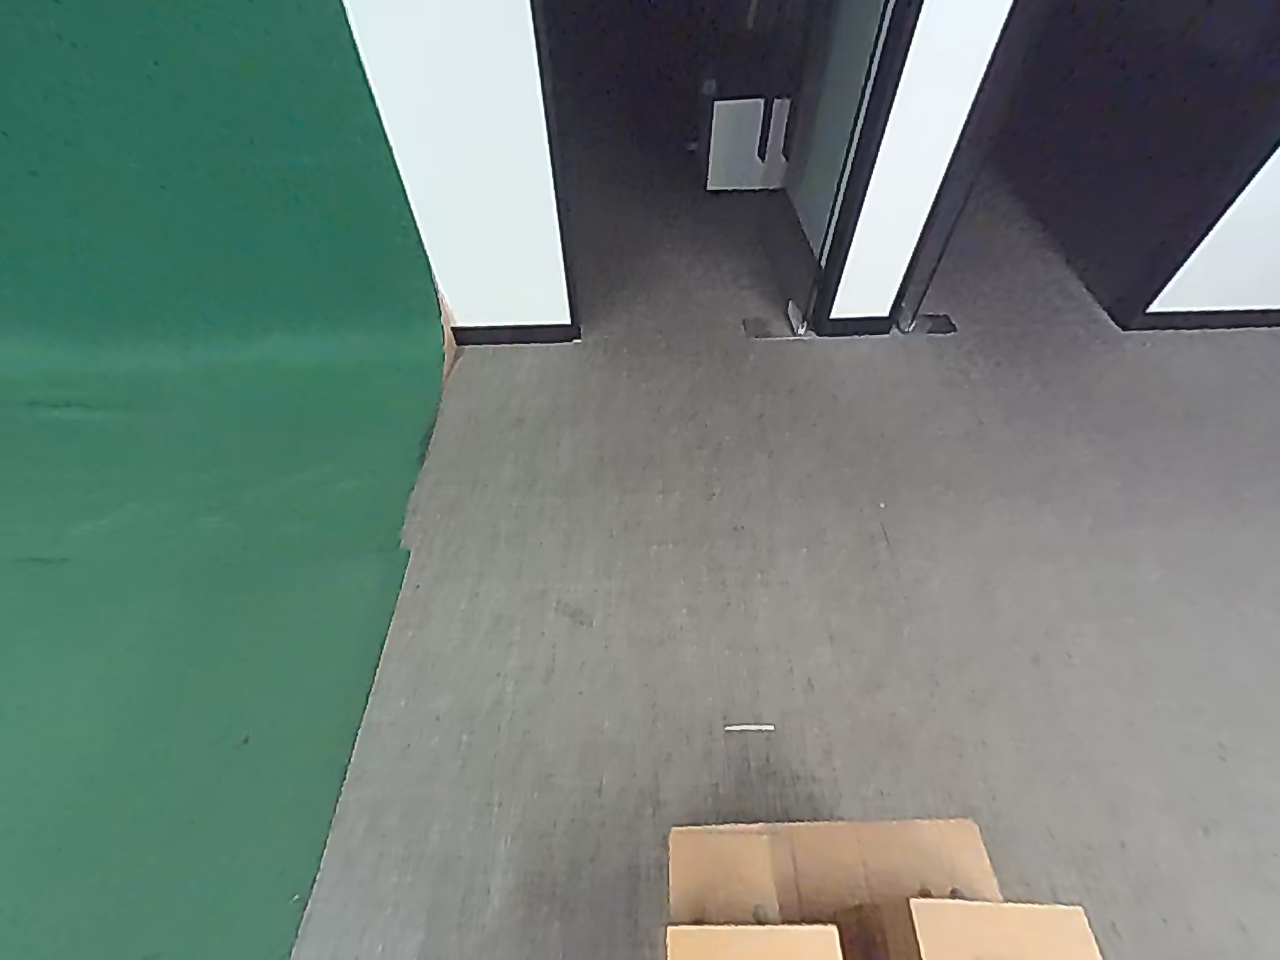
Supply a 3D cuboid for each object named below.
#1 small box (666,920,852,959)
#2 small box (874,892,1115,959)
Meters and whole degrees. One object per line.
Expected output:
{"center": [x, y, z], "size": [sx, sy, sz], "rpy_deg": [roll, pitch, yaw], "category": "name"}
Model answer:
{"center": [0.114, 0.539, 0.522], "size": [0.168, 0.176, 0.179], "rpy_deg": [0, 52, -1], "category": "small box"}
{"center": [0.350, 0.521, 0.528], "size": [0.168, 0.176, 0.179], "rpy_deg": [1, 49, 3], "category": "small box"}
